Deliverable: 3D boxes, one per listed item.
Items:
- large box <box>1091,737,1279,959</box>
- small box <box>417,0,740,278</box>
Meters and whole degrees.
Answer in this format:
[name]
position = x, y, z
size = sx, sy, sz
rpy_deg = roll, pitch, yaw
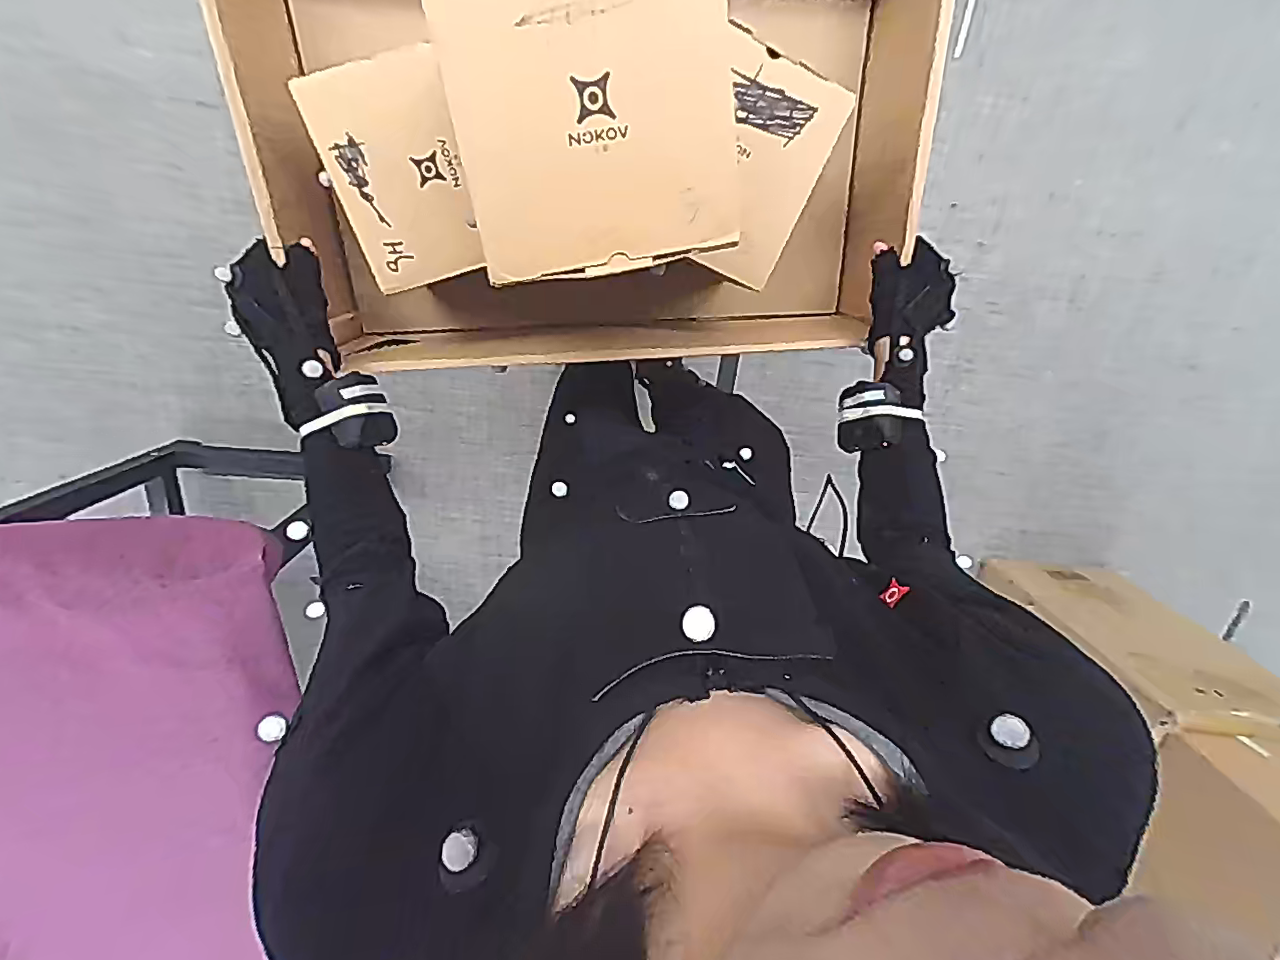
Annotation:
[large box]
position = 1.222, 0.777, 1.064
size = 0.320, 0.320, 0.408
rpy_deg = 7, 112, -3
[small box]
position = -0.038, -0.250, 0.376
size = 0.168, 0.176, 0.179
rpy_deg = -12, 114, -4
